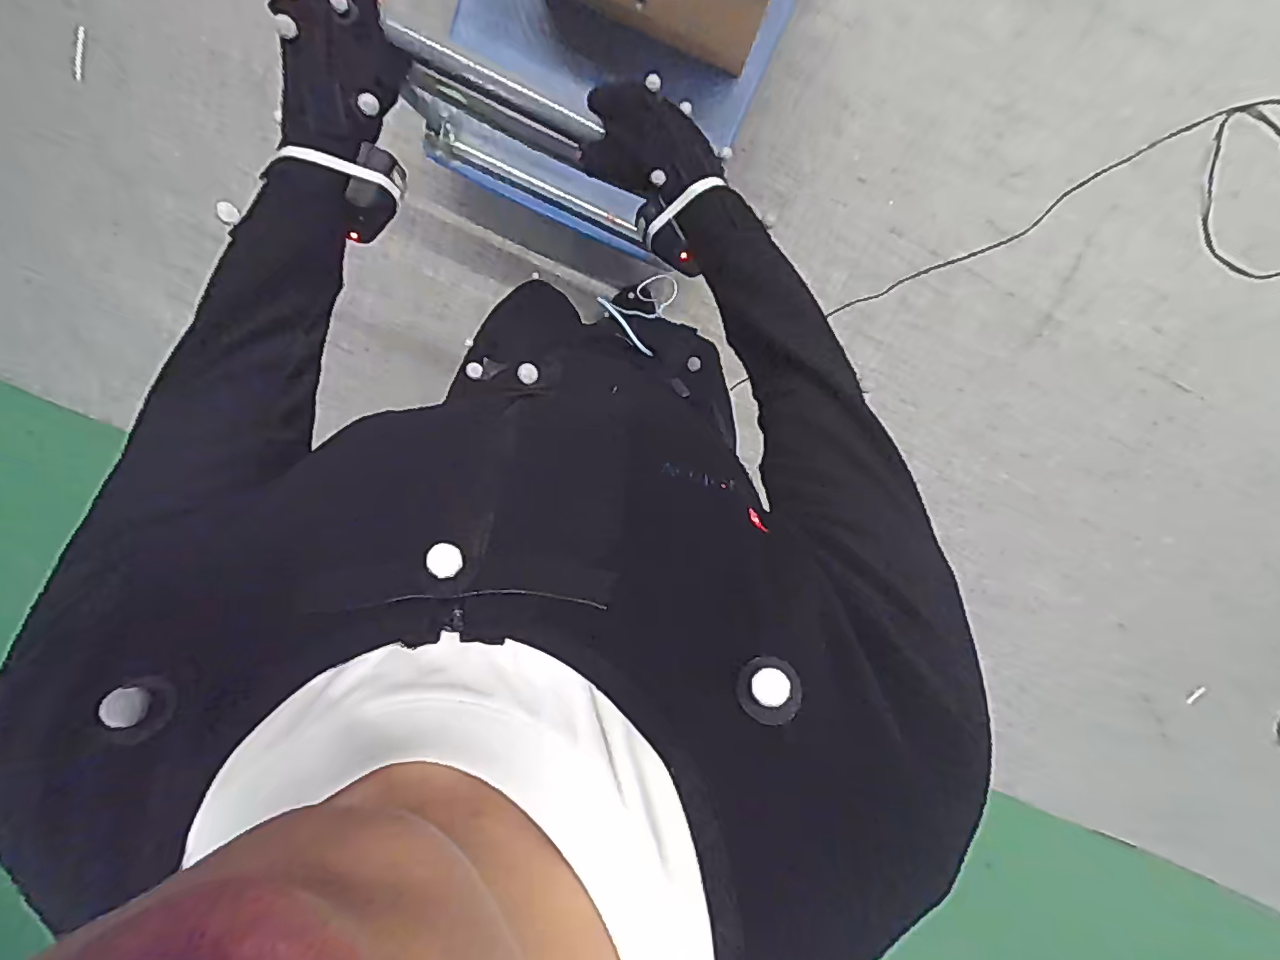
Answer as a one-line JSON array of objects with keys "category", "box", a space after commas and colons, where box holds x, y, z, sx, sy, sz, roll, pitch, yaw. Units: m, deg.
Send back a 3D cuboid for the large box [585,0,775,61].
[{"category": "large box", "box": [0.062, -0.941, 0.838, 0.408, 0.320, 0.320, 19, 110, -4]}]
